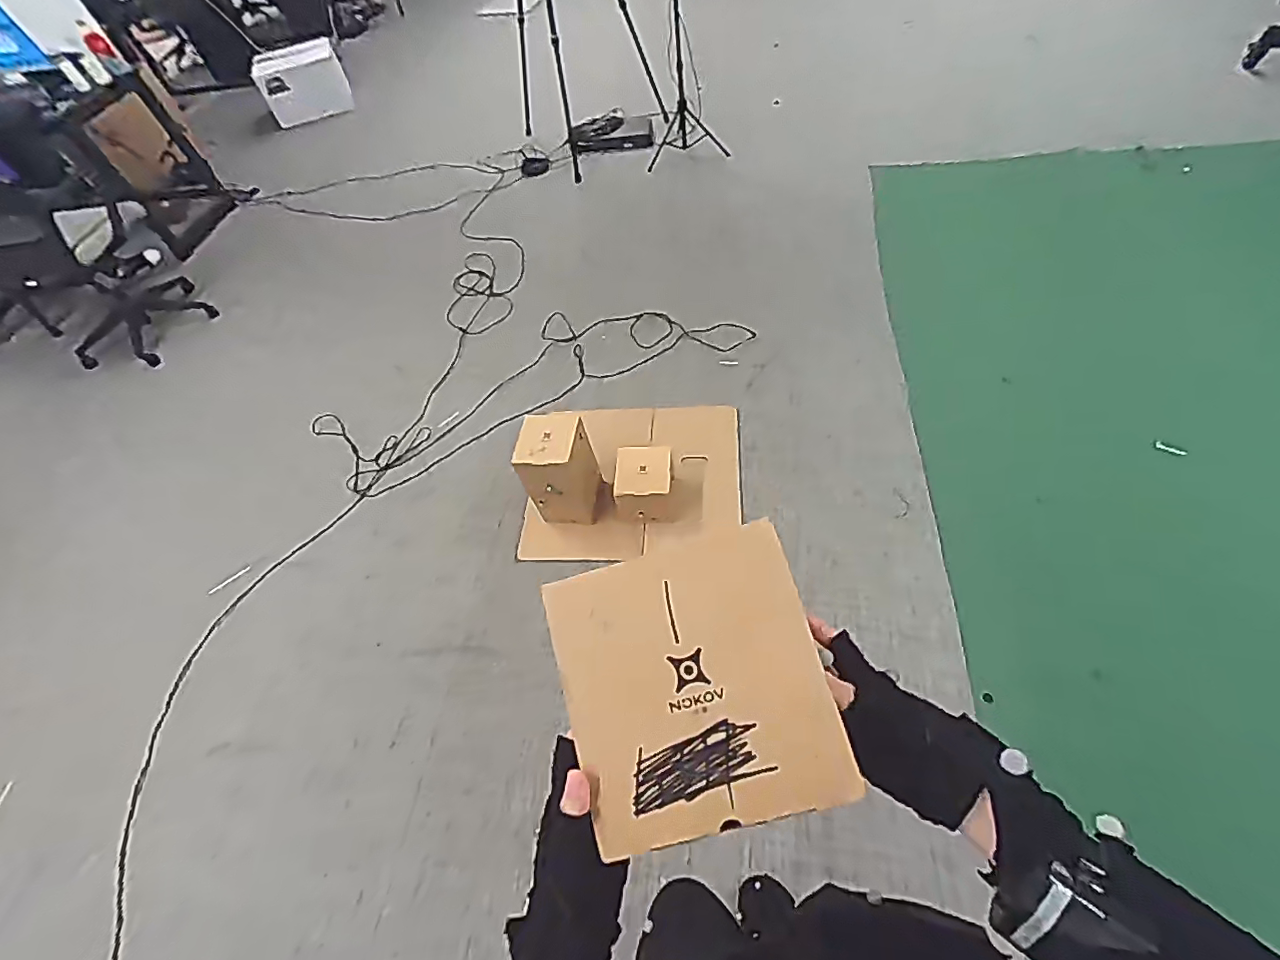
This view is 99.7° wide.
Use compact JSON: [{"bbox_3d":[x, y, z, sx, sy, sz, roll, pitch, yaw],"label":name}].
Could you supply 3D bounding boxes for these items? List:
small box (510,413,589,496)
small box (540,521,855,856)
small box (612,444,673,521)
[{"bbox_3d":[-0.253,-0.074,1.566,0.168,0.176,0.179,1,56,11],"label":"small box"},{"bbox_3d":[0.042,0.145,0.422,0.168,0.176,0.179,-17,76,4],"label":"small box"},{"bbox_3d":[0.013,0.009,1.669,0.168,0.176,0.179,-2,56,7],"label":"small box"}]
